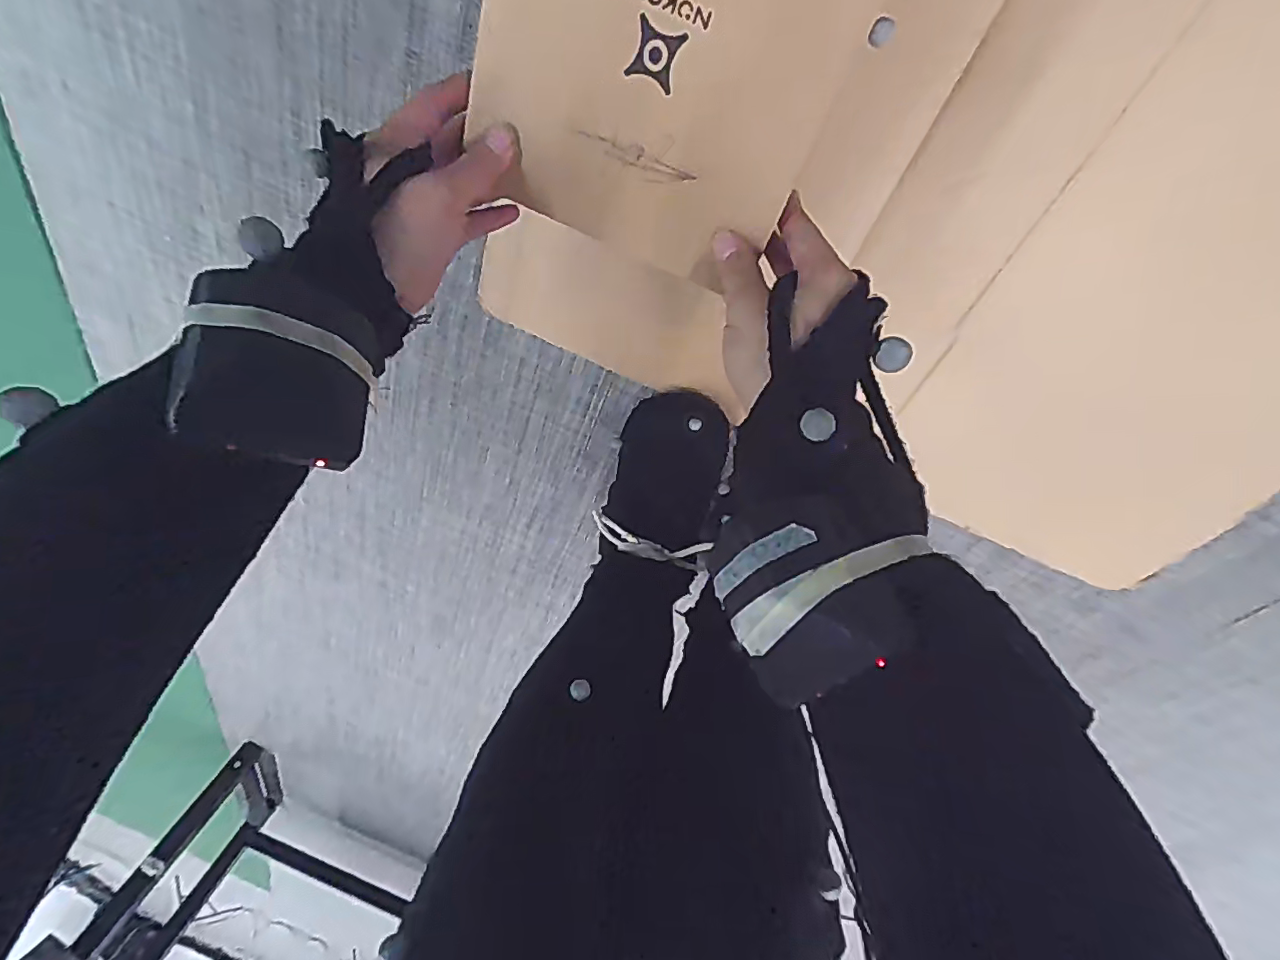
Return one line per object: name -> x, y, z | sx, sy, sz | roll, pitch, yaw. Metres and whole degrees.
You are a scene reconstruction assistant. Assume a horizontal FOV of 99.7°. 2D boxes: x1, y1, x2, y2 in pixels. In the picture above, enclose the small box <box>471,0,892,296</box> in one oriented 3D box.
small box -> 0.030, -0.239, 0.304 | 0.168, 0.176, 0.179 | 24, 128, -1
